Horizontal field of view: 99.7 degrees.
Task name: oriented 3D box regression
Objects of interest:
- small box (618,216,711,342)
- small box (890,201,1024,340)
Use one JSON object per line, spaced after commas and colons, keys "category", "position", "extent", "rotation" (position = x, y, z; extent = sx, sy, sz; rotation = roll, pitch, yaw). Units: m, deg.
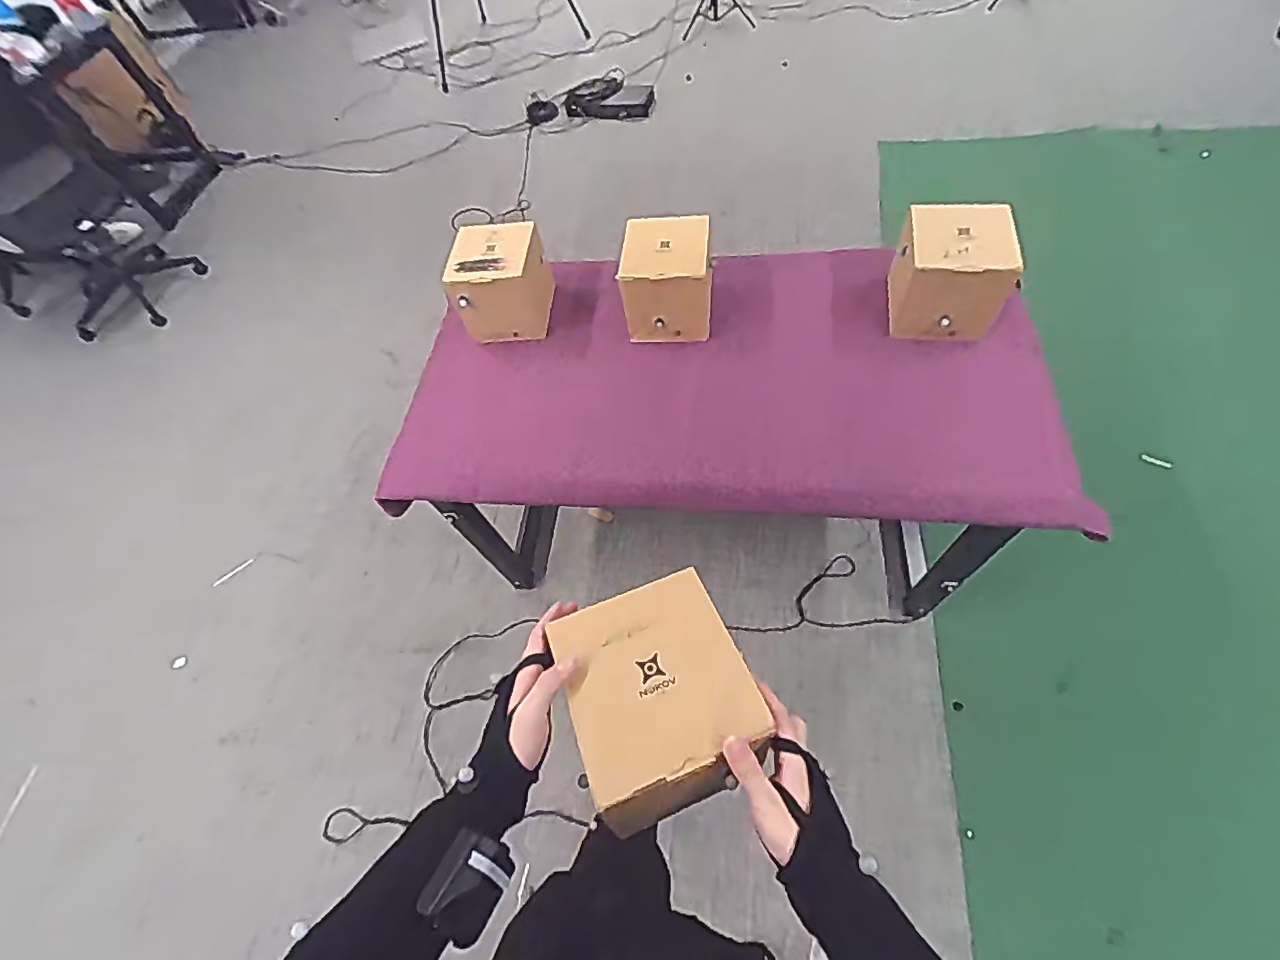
{"category": "small box", "position": [0.056, -0.402, 1.091], "extent": [0.168, 0.176, 0.179], "rotation": [1, 61, 9]}
{"category": "small box", "position": [0.568, -0.383, 0.996], "extent": [0.168, 0.176, 0.179], "rotation": [5, 62, 13]}
